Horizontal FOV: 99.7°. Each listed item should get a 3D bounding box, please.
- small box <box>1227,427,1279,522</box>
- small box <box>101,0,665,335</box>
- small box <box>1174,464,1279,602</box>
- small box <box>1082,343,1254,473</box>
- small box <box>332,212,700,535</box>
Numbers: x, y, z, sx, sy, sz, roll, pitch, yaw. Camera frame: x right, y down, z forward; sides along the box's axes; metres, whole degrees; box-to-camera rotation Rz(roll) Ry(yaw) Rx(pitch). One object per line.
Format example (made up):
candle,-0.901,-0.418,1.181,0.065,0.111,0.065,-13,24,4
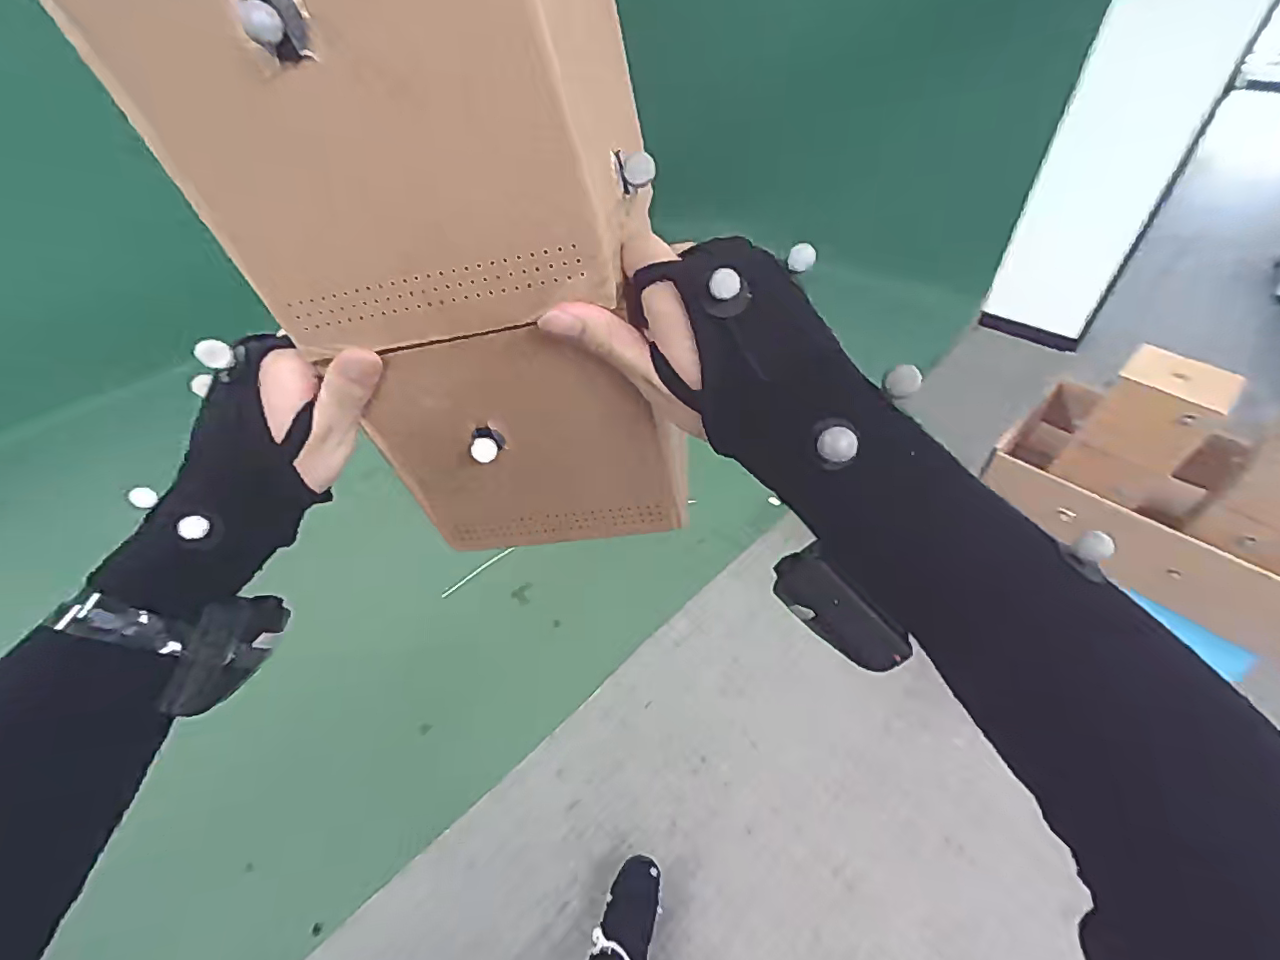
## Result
small box,1.205,-0.014,0.941,0.168,0.176,0.179,-34,50,-28
small box,-0.096,-0.189,0.271,0.179,0.176,0.168,-5,43,15
small box,1.211,0.105,1.054,0.168,0.176,0.179,-33,51,-27
small box,1.049,-0.144,1.089,0.168,0.176,0.179,-34,55,-28
small box,-0.060,-0.076,0.384,0.179,0.176,0.168,-7,43,13
